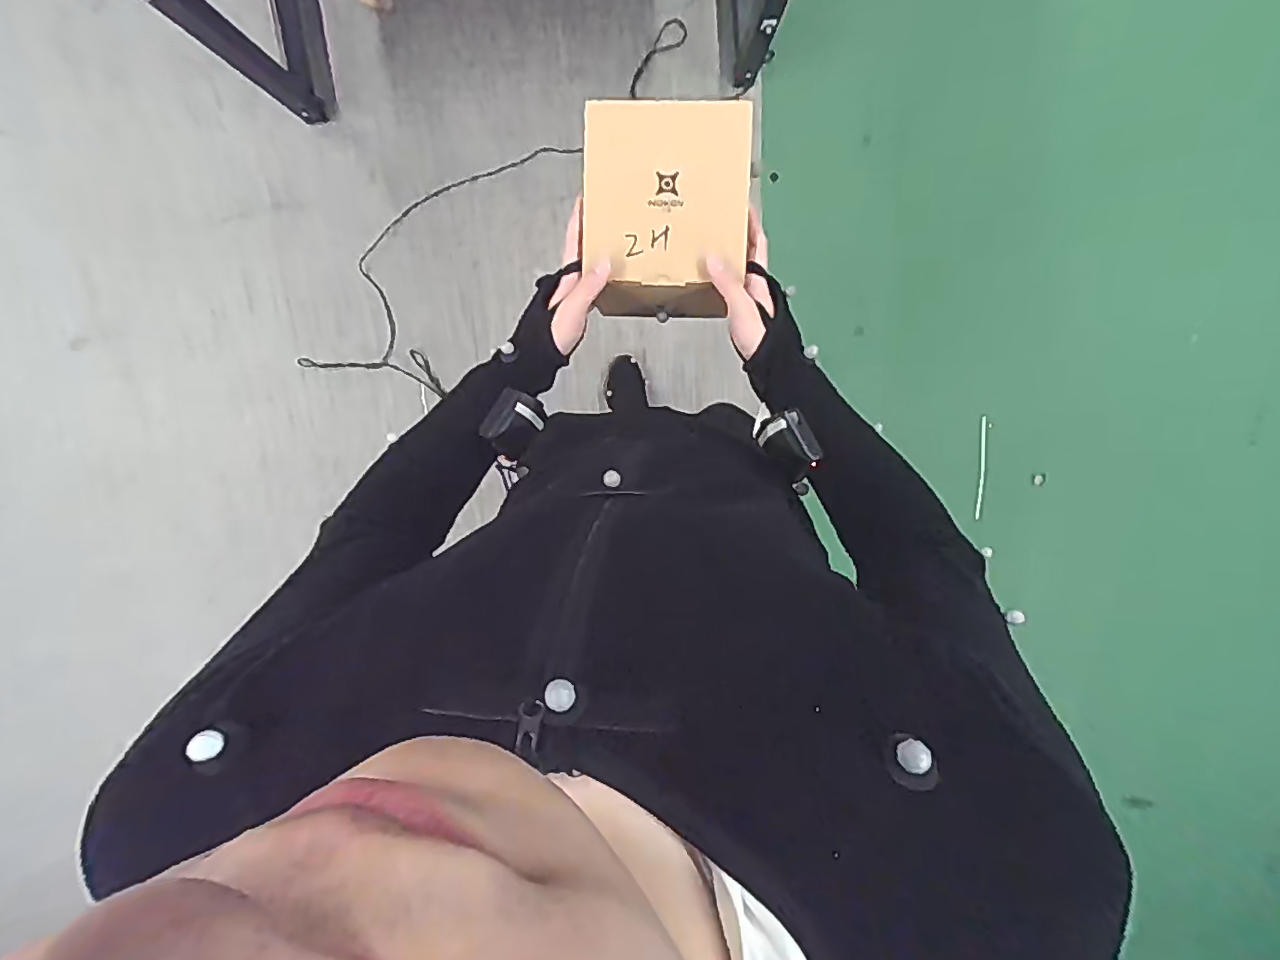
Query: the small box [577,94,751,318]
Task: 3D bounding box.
[{"bbox_3d":[0.026,-0.293,0.609,0.168,0.176,0.179,2,95,4],"label":"small box"}]
